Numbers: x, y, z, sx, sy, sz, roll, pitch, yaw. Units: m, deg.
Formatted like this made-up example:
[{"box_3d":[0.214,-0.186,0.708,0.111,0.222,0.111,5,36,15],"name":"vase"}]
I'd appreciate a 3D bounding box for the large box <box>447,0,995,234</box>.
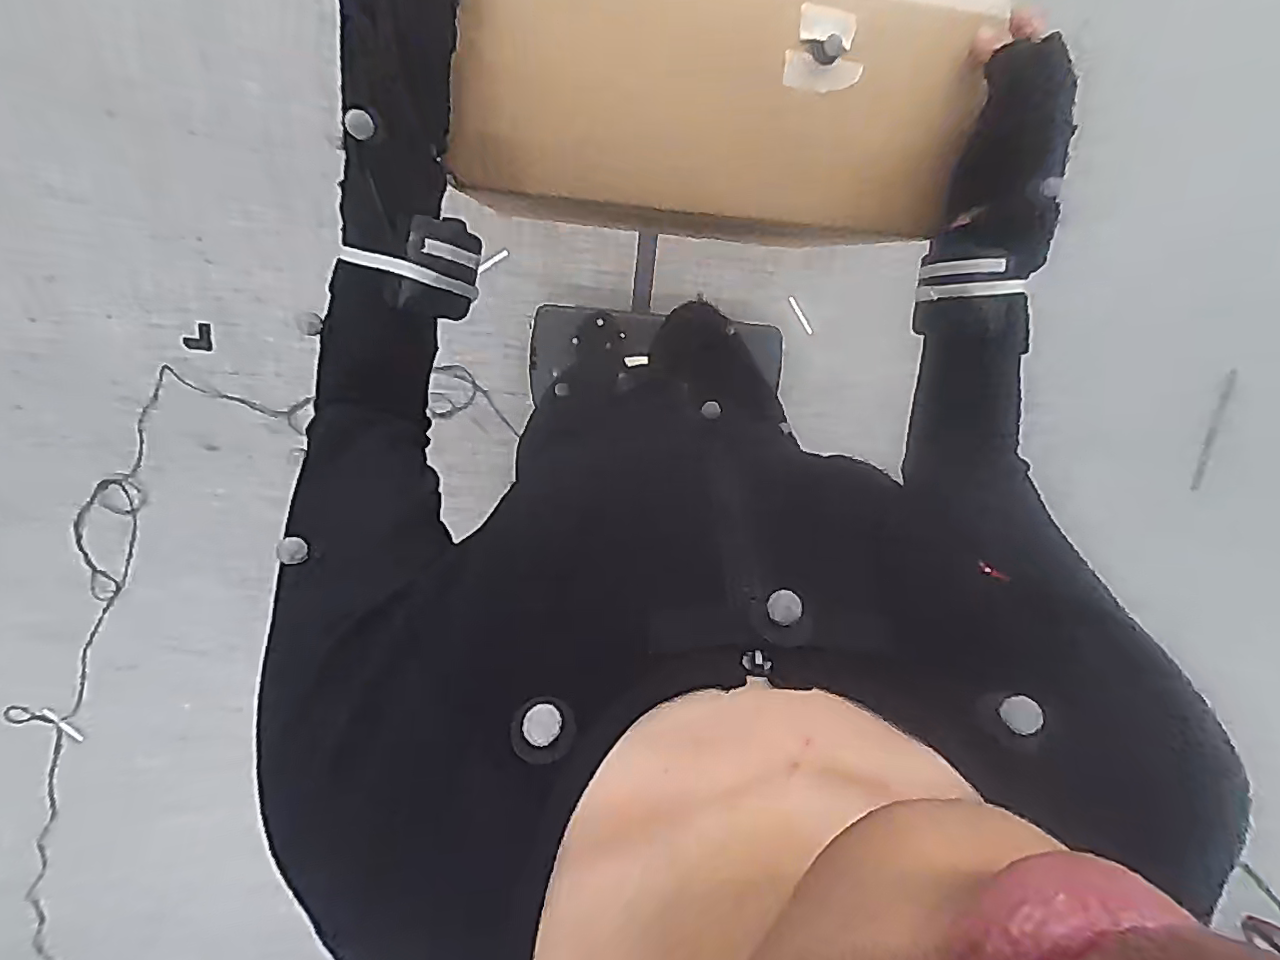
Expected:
[{"box_3d":[0.048,-0.420,0.509,0.408,0.320,0.320,1,113,-9],"name":"large box"}]
